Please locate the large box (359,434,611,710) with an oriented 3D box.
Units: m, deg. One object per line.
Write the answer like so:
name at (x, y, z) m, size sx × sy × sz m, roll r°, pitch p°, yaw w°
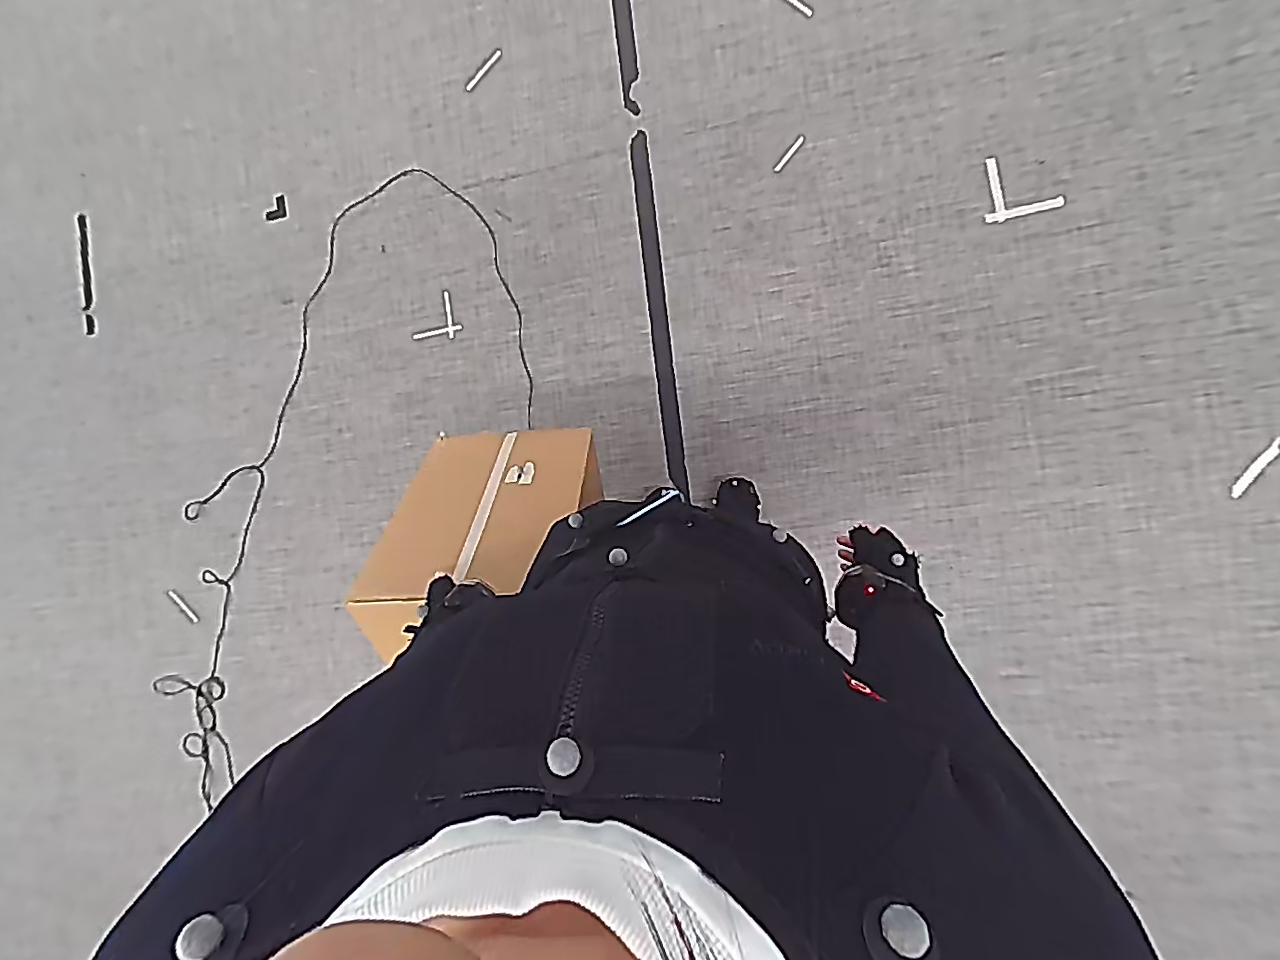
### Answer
large box at (-0.234, 0.158, 1.000) m, size 0.320 × 0.408 × 0.320 m, roll -2°, pitch 128°, yaw 4°
